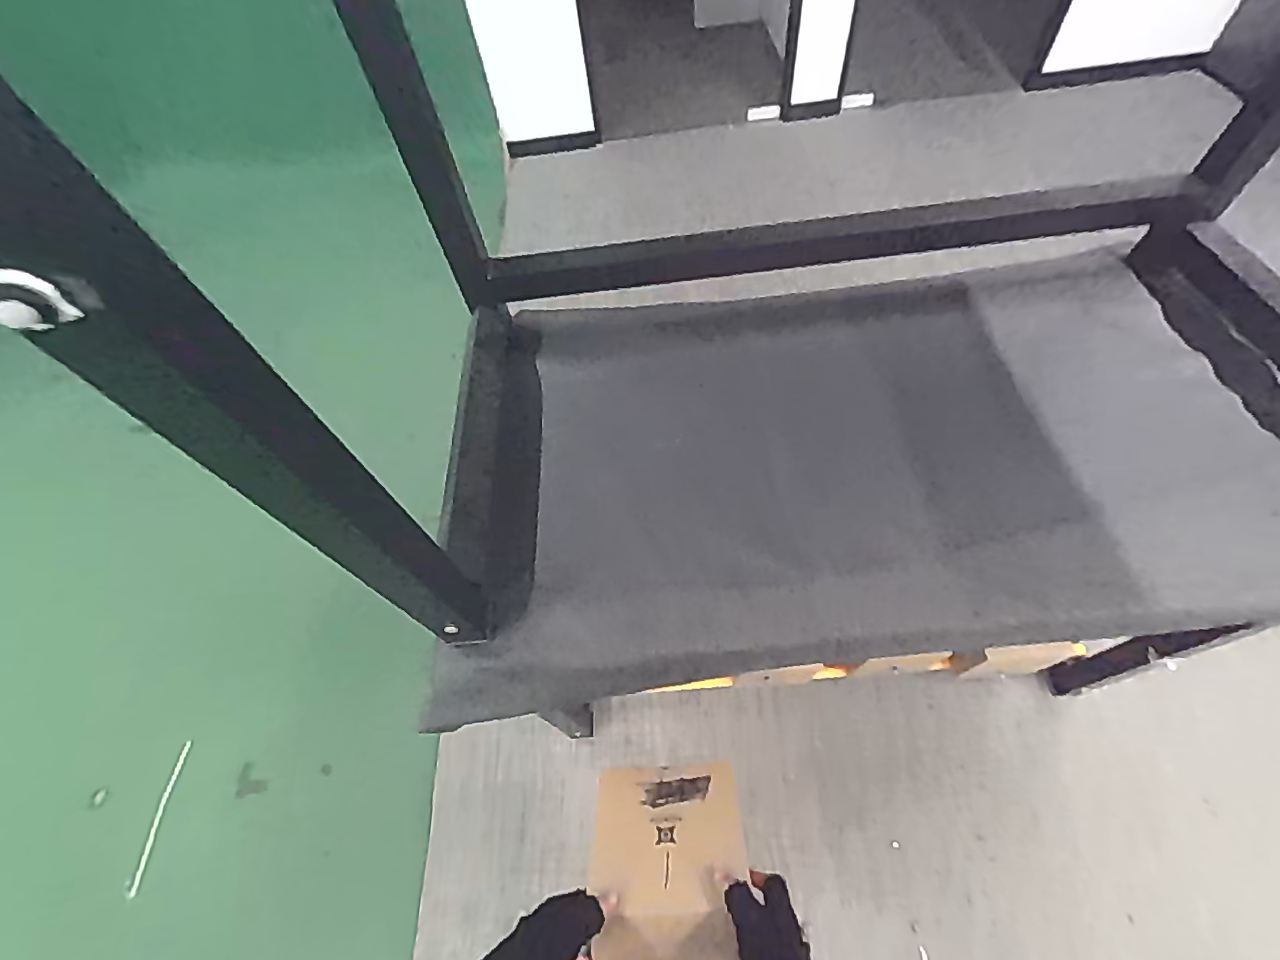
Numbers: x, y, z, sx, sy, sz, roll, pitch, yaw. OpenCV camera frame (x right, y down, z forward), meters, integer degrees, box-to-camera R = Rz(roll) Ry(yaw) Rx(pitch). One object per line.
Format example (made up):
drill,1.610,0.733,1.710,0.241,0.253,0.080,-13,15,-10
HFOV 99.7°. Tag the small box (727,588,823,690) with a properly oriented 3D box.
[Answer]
small box,0.284,0.351,1.173,0.168,0.176,0.179,-5,58,2
